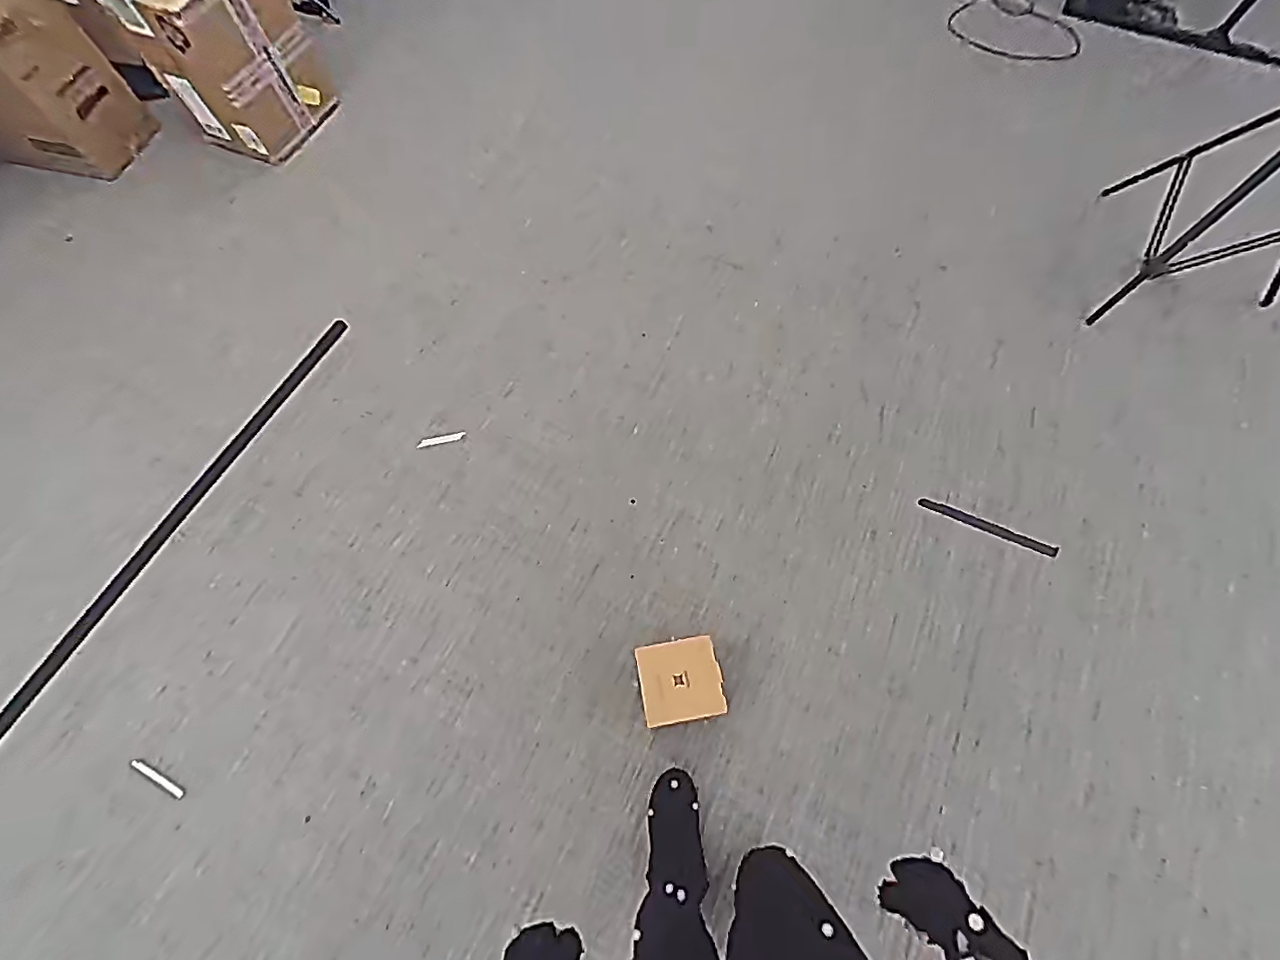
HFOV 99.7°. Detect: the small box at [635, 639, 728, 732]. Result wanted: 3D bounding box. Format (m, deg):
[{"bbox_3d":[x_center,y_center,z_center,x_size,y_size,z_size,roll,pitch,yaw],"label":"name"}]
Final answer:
[{"bbox_3d":[0.088,0.466,1.229,0.179,0.176,0.168,-10,66,-3],"label":"small box"}]
